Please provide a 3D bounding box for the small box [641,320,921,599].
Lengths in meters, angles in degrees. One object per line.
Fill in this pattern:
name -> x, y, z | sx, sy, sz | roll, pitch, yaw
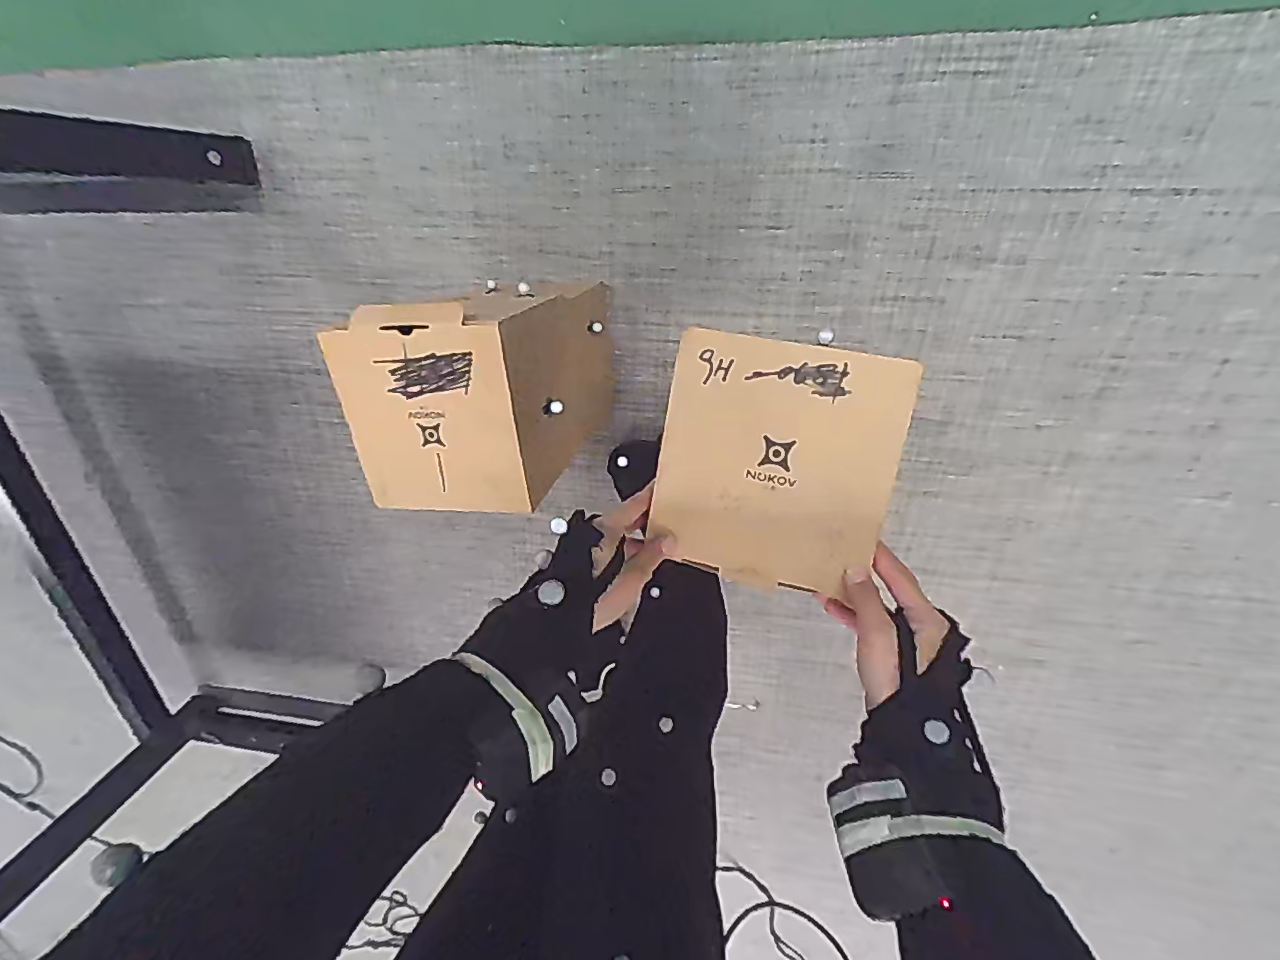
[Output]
small box -> 0.110, -0.027, 0.462 | 0.168, 0.176, 0.179 | 12, 102, 9

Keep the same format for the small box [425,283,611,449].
small box -> -0.139, -0.151, 0.686 | 0.168, 0.176, 0.179 | 2, 117, 11
